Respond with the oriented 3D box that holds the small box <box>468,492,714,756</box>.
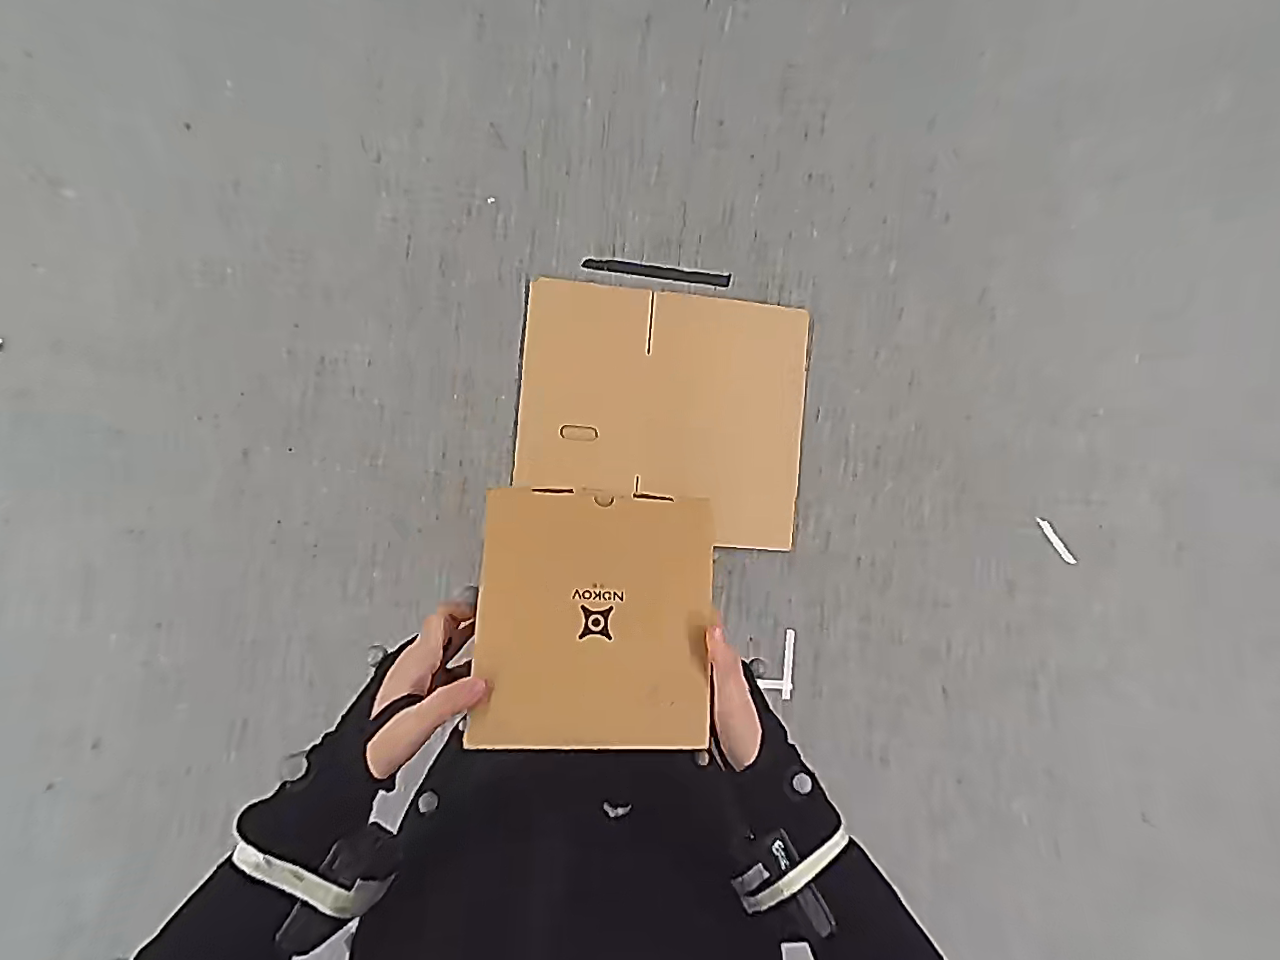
[{"bbox_3d":[-0.040,0.114,0.457,0.168,0.176,0.179,4,78,-8],"label":"small box"}]
